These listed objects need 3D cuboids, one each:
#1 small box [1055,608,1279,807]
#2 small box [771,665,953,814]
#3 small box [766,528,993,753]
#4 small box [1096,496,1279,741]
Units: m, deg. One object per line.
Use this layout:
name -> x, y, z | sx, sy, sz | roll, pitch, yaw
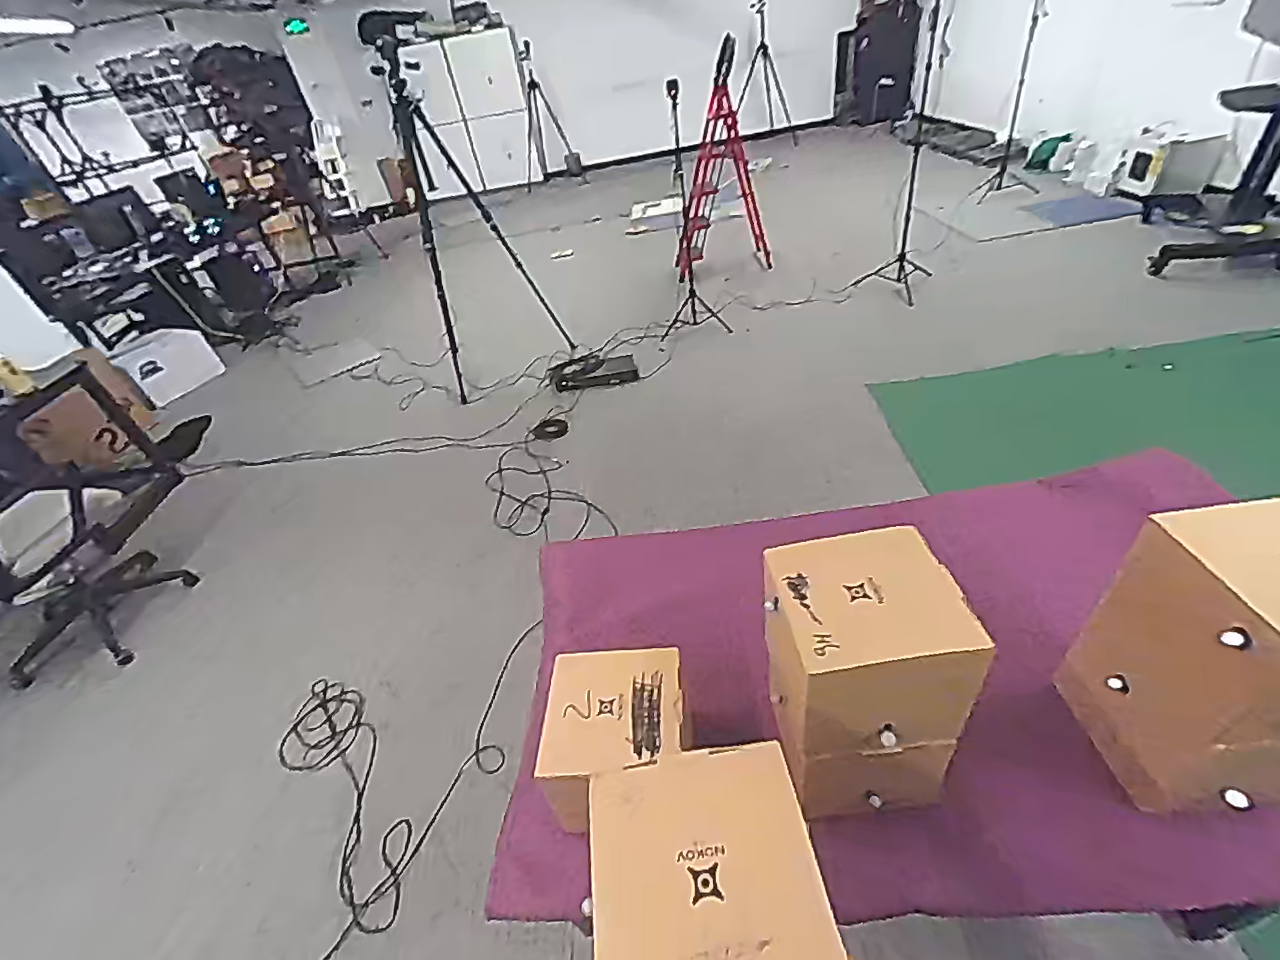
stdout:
small box -> 0.661, 0.268, 0.661 | 0.168, 0.176, 0.179 | -8, 39, 4
small box -> 0.271, 0.304, 0.710 | 0.168, 0.176, 0.179 | -9, 38, 3
small box -> 0.245, 0.179, 0.607 | 0.179, 0.176, 0.168 | -9, 37, 2
small box -> 0.638, 0.141, 0.563 | 0.168, 0.176, 0.179 | -9, 39, 4
